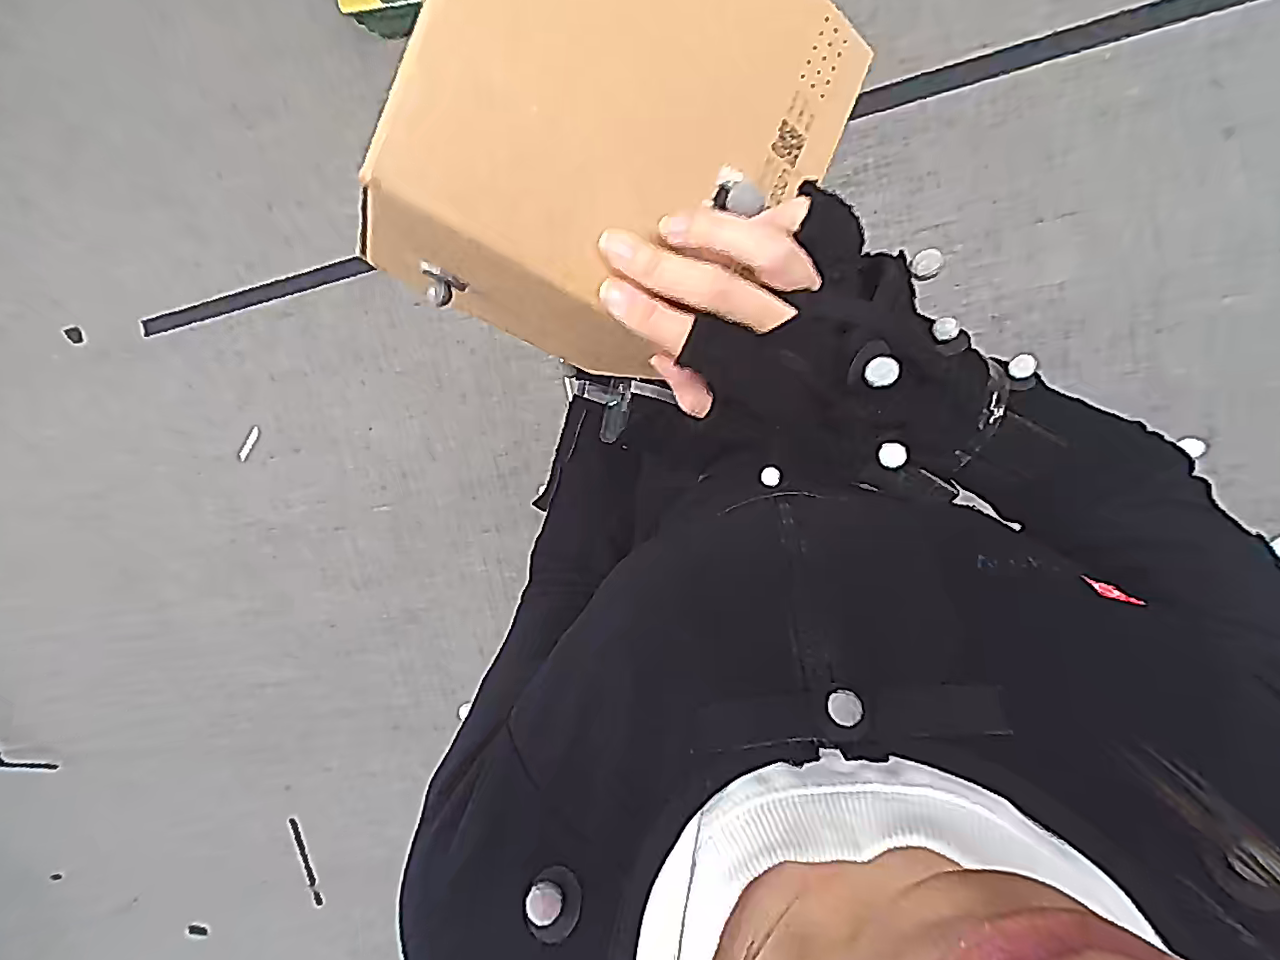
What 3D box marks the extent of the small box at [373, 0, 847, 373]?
[{"bbox_3d":[-0.028,-0.168,0.298,0.176,0.179,0.168,20,93,-29],"label":"small box"}]
